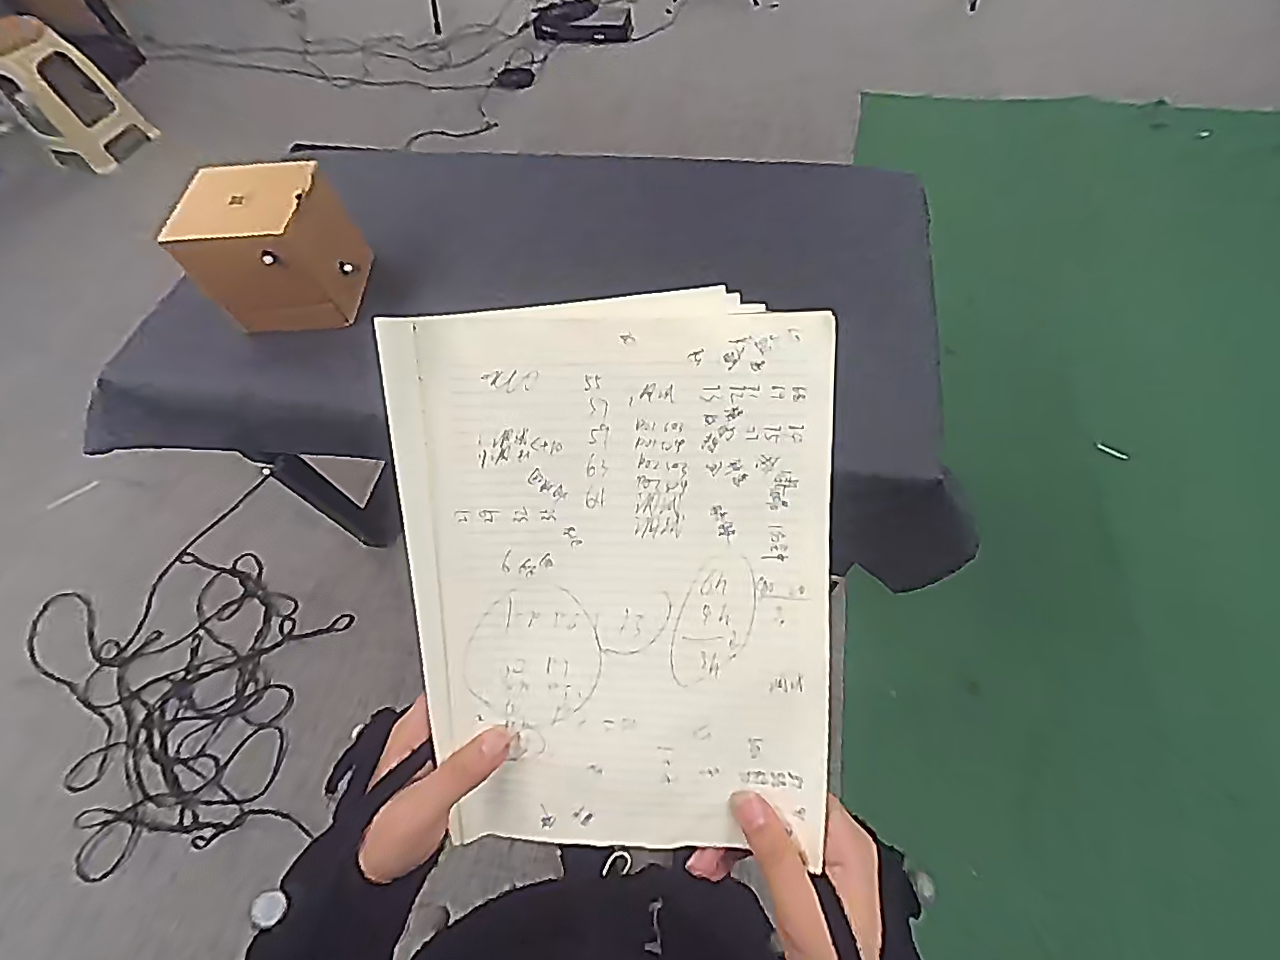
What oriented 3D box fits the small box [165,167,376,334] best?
[{"bbox_3d":[-0.537,-0.339,0.816,0.179,0.176,0.168,-3,60,2],"label":"small box"}]
